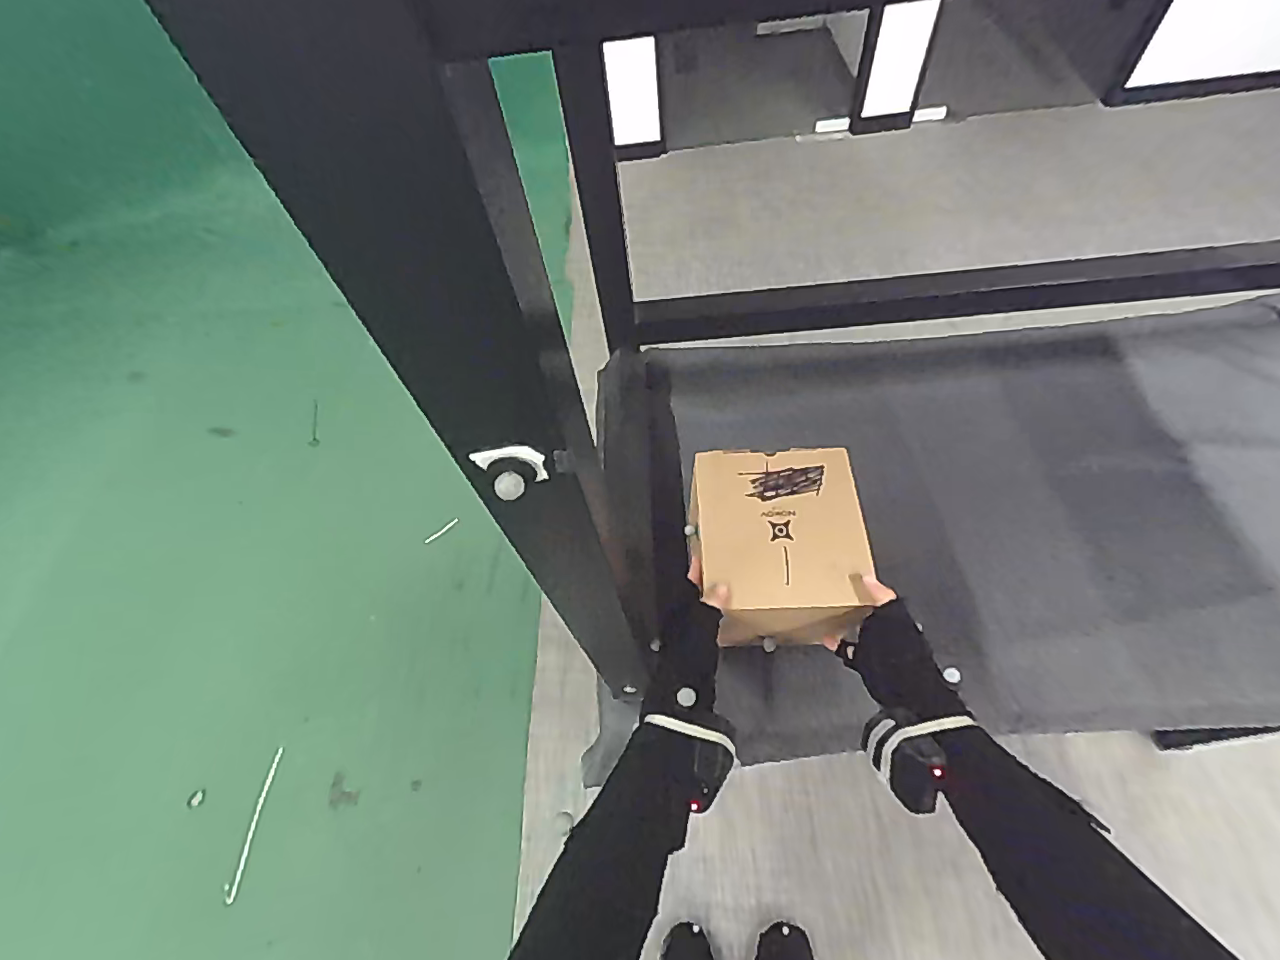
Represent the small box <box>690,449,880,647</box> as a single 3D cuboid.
[{"bbox_3d":[0.146,0.082,0.616,0.168,0.176,0.179,-2,61,2],"label":"small box"}]
